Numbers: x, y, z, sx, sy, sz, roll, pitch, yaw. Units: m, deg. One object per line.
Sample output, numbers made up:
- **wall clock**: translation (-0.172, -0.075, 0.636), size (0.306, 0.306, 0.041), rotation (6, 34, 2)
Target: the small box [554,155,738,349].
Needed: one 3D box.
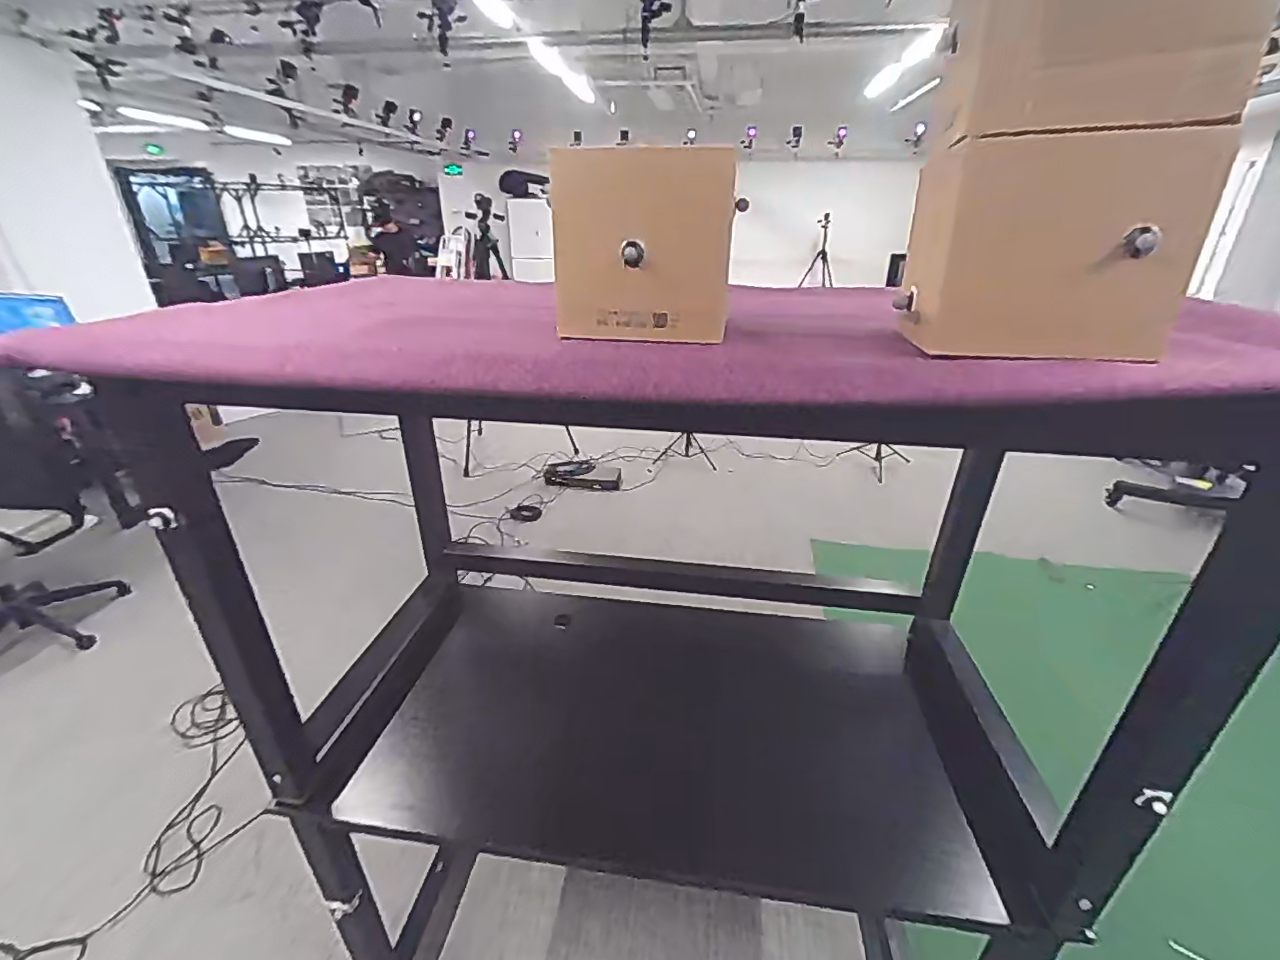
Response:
- **small box**: translation (0.016, -0.241, 0.580), size (0.168, 0.176, 0.179), rotation (5, 25, 7)

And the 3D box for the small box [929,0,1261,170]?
- **small box**: translation (0.353, -0.351, 0.444), size (0.179, 0.176, 0.168), rotation (7, 23, 15)

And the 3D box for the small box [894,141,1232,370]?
- **small box**: translation (0.354, -0.199, 0.500), size (0.179, 0.176, 0.168), rotation (4, 22, 13)
